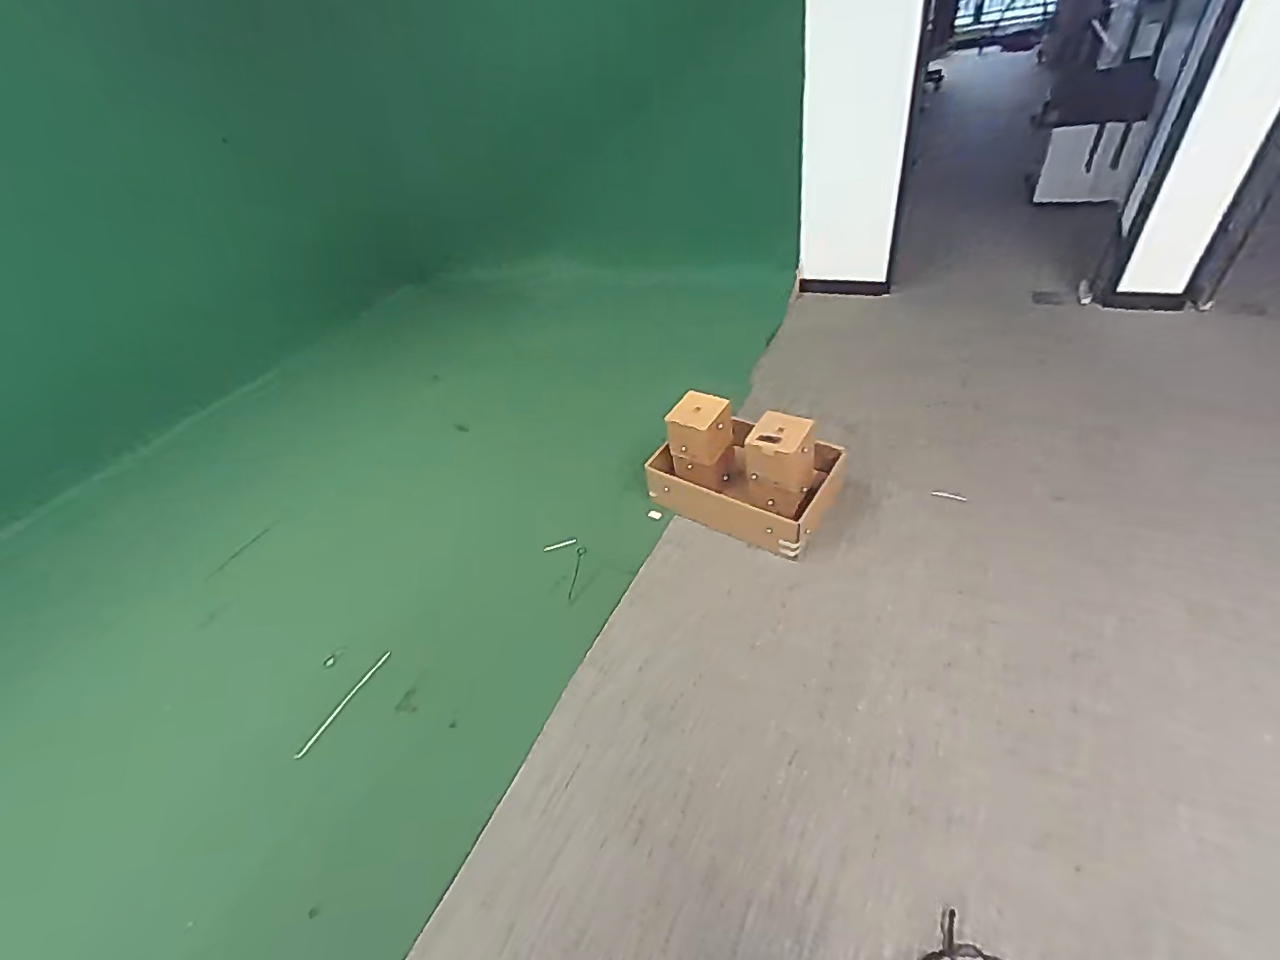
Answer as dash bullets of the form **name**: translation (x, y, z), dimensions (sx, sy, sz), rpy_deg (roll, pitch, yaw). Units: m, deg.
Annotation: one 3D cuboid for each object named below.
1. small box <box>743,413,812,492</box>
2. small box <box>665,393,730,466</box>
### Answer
- **small box**: translation (0.454, -0.088, 1.771), dimensions (0.168, 0.176, 0.179), rpy_deg (19, 52, 31)
- **small box**: translation (0.211, -0.180, 1.934), dimensions (0.168, 0.176, 0.179), rpy_deg (21, 54, 31)
